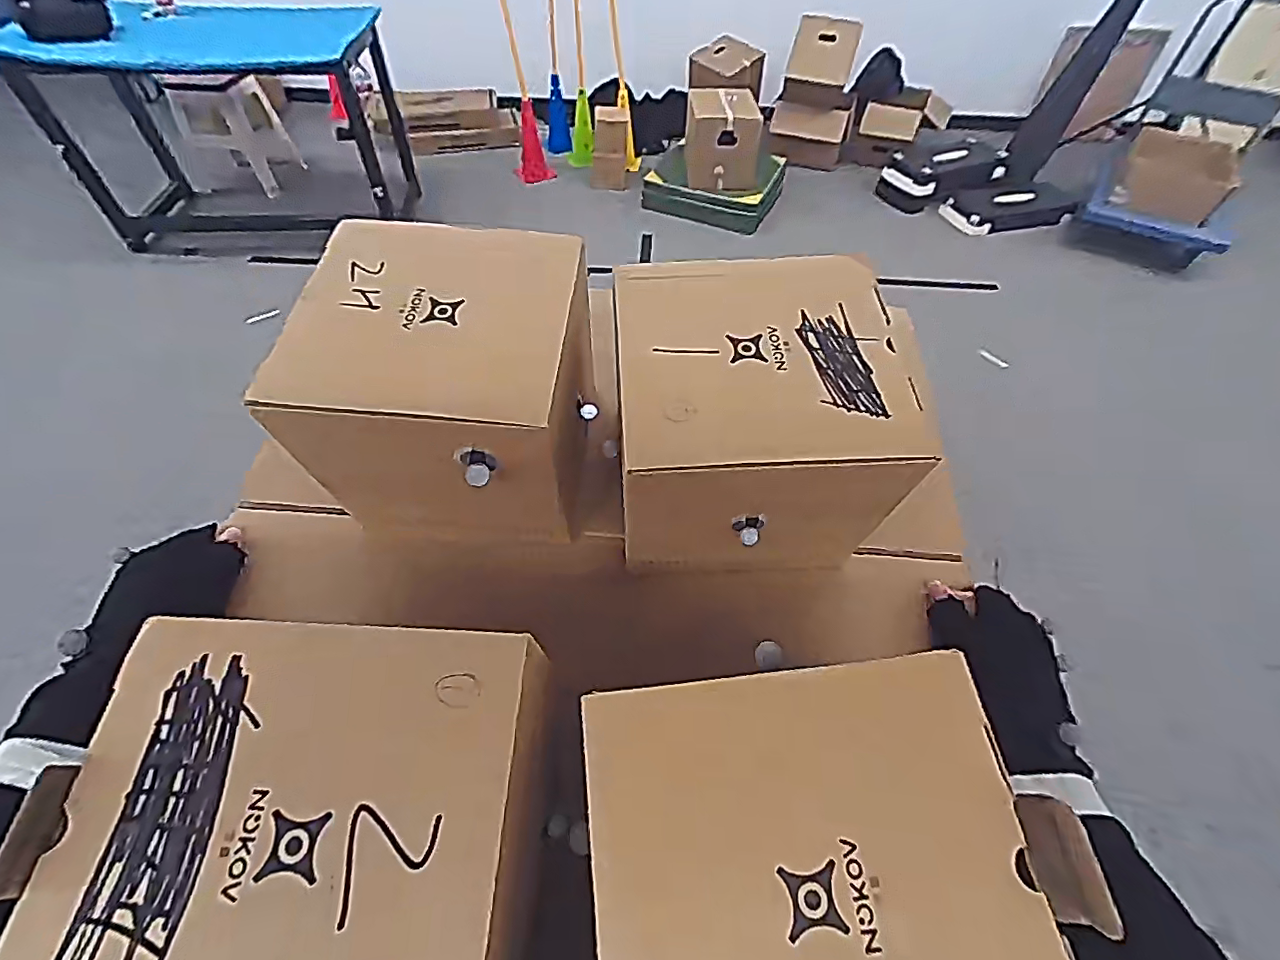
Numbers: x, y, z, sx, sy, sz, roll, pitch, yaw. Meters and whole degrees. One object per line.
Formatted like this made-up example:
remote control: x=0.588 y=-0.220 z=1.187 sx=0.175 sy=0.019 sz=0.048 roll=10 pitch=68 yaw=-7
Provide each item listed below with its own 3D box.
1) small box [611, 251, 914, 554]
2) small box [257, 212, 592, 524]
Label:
small box: x=0.068 y=-0.049 z=0.414 sx=0.179 sy=0.176 sz=0.168 roll=-2 pitch=61 yaw=-2
small box: x=-0.135 y=-0.076 z=0.425 sx=0.179 sy=0.176 sz=0.168 roll=6 pitch=60 yaw=2
